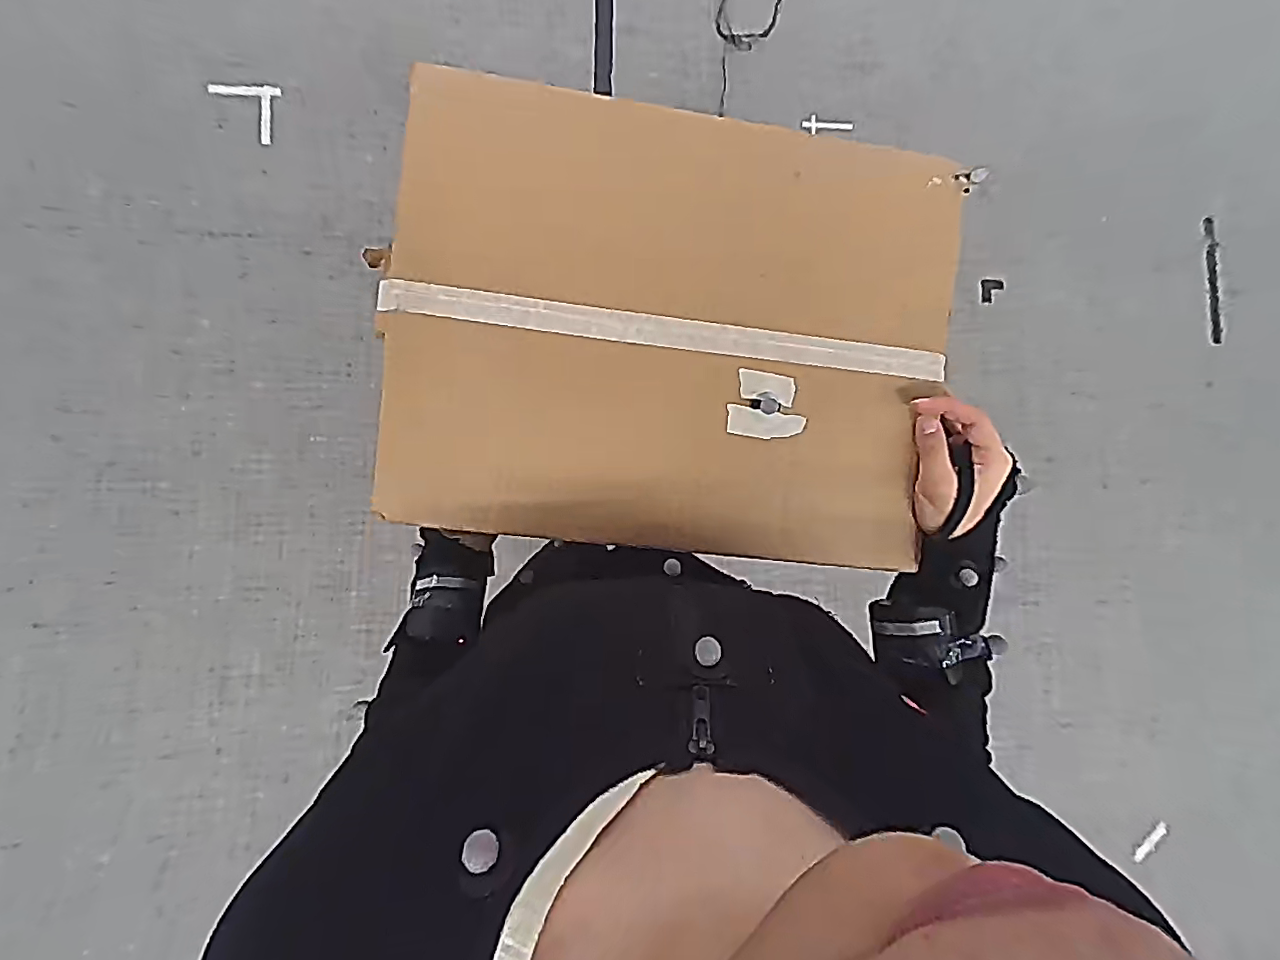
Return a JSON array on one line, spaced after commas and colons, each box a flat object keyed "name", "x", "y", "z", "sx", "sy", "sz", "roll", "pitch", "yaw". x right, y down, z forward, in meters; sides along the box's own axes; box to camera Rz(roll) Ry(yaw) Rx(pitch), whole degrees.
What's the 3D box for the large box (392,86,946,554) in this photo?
[{"name": "large box", "x": 0.012, "y": -0.112, "z": 0.547, "sx": 0.408, "sy": 0.320, "sz": 0.320, "roll": 5, "pitch": 92, "yaw": -7}]
